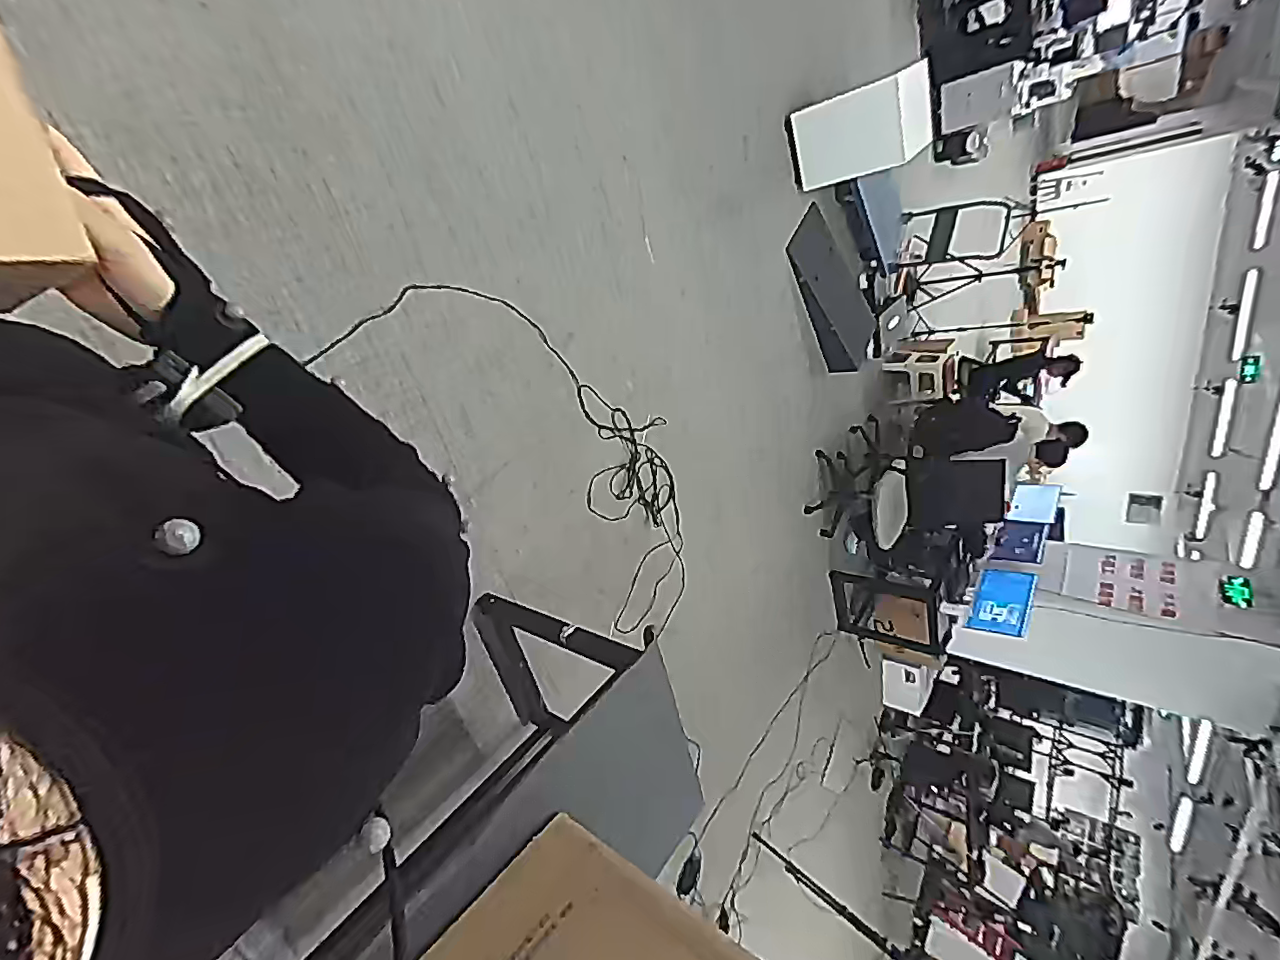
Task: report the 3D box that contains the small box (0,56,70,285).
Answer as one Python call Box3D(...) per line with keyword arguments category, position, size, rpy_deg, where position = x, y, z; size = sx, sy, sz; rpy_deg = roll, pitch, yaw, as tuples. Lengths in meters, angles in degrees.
Box3D(category="small box", position=(-0.407, -0.172, 0.227), size=(0.168, 0.176, 0.179), rpy_deg=(-32, 119, -56))
